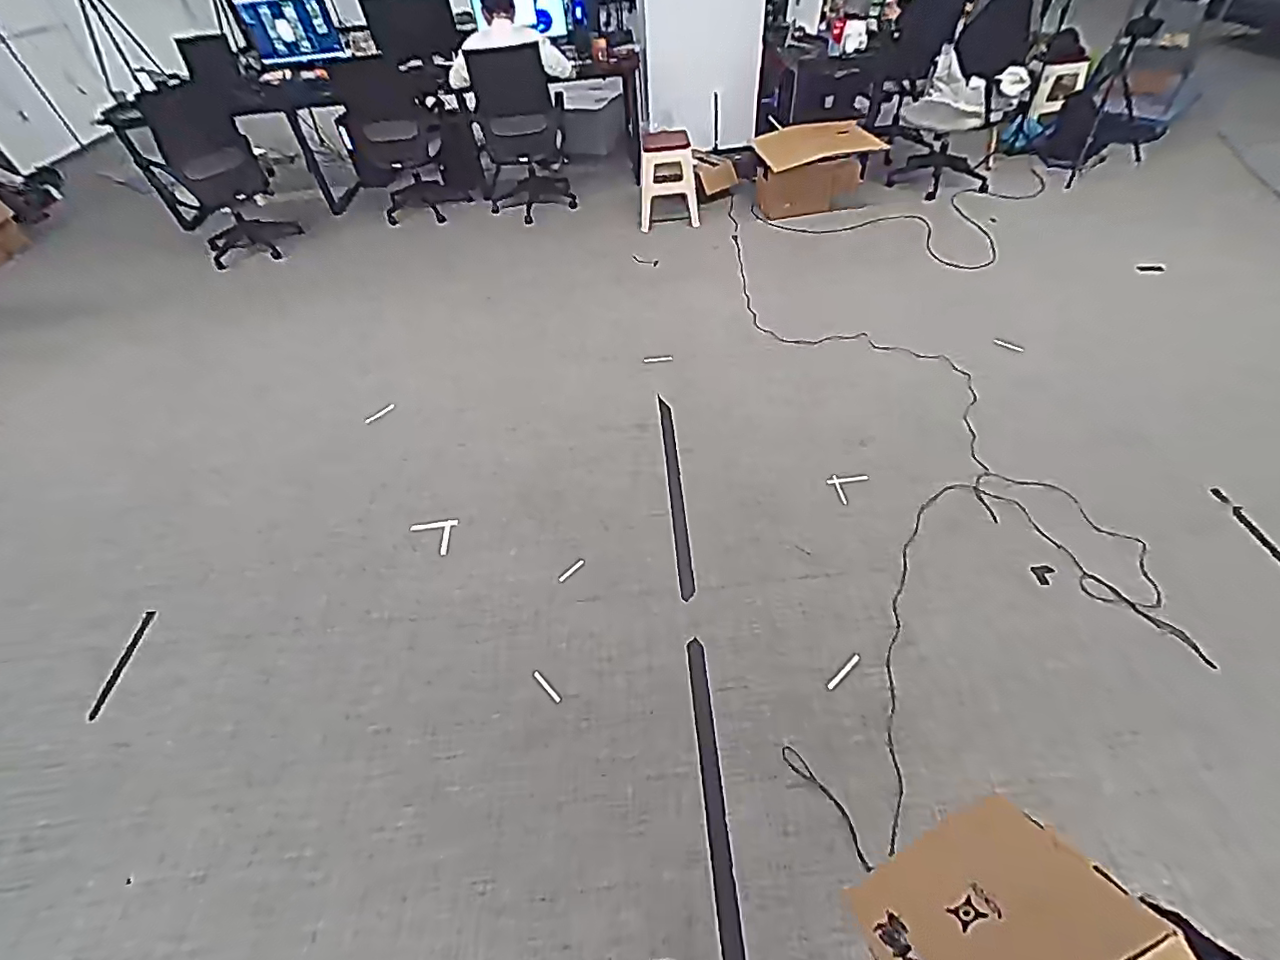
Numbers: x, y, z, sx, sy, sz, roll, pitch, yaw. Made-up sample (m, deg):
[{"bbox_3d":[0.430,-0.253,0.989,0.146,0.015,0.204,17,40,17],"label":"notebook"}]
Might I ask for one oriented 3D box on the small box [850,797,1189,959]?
[{"bbox_3d":[0.312,0.410,0.429,0.179,0.168,0.176,-31,89,-4],"label":"small box"}]
